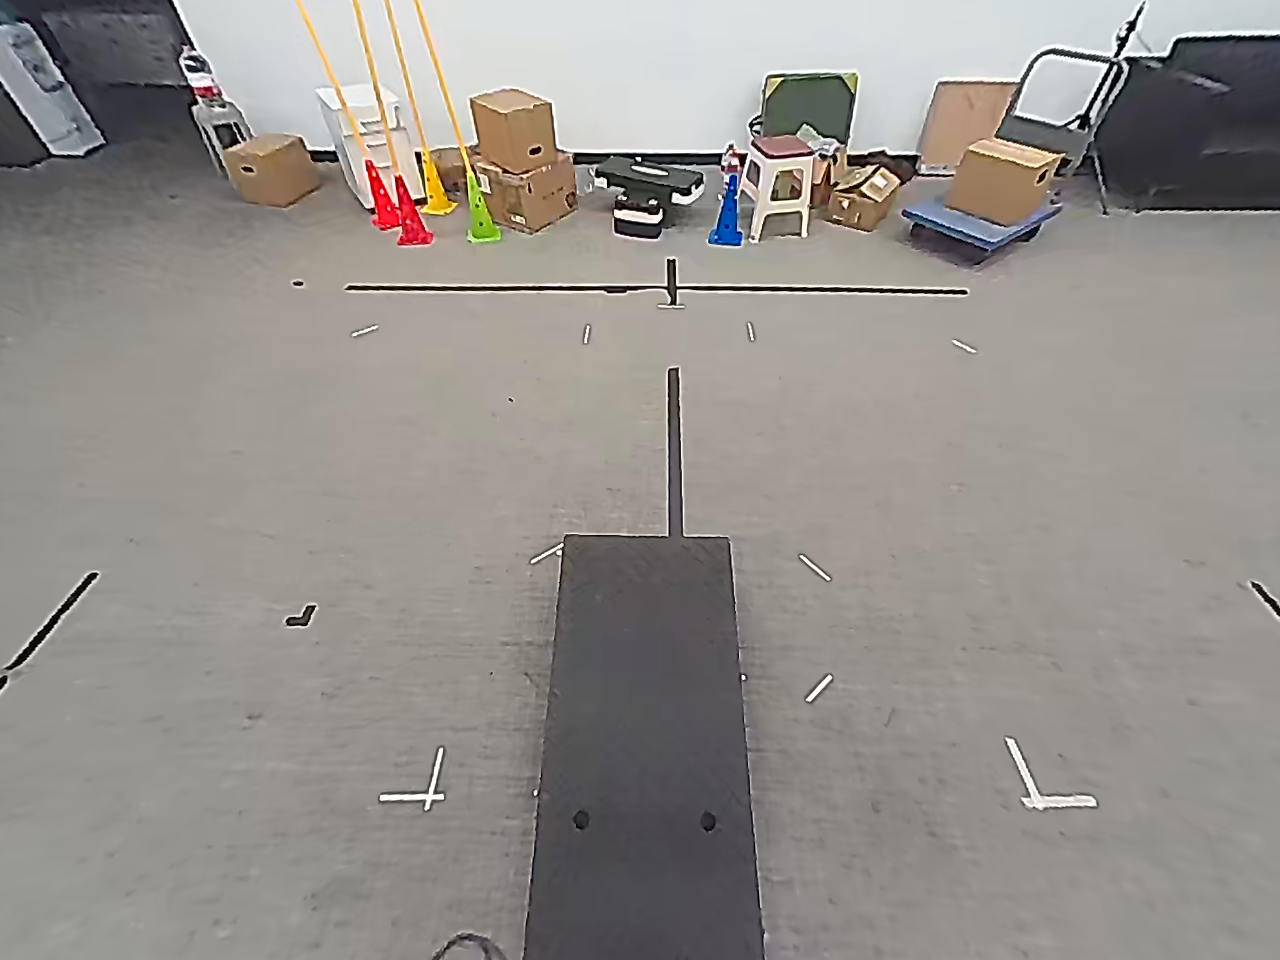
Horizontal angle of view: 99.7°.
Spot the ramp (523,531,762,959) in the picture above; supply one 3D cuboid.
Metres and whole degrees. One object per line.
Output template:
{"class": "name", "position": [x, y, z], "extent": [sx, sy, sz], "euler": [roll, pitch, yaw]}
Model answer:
{"class": "ramp", "position": [0.013, 0.581, 1.342], "extent": [0.509, 0.206, 0.991], "euler": [0, 48, -2]}
